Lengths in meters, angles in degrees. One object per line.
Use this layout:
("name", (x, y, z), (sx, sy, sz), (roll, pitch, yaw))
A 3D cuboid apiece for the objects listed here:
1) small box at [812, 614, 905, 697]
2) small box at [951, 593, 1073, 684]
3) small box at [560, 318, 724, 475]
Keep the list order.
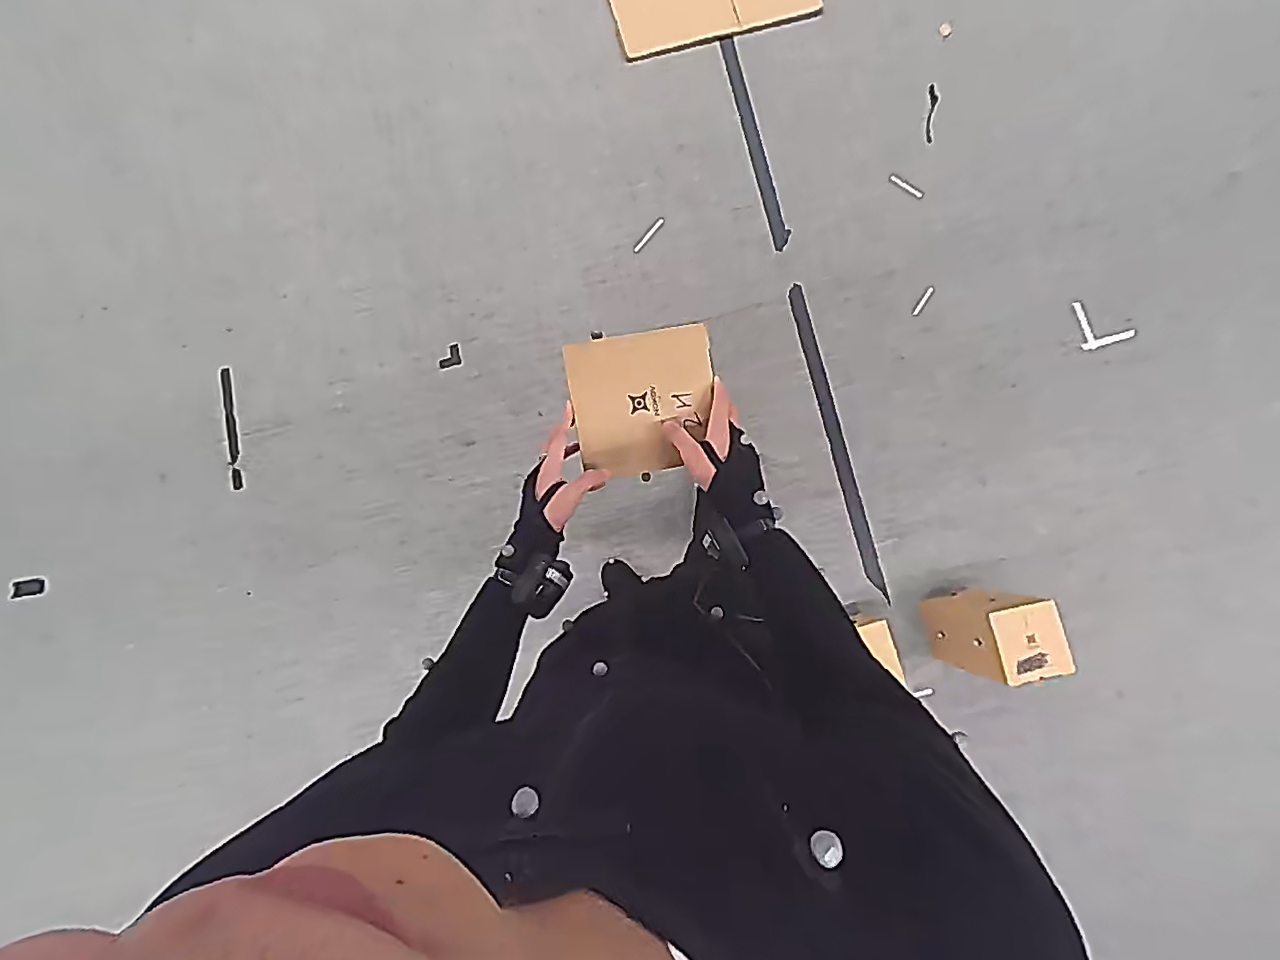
("small box", (0.603, 0.483, 1.519), (0.168, 0.176, 0.179), (-16, 83, -1))
("small box", (0.923, 0.390, 1.358), (0.168, 0.176, 0.179), (-12, 82, -1))
("small box", (-0.002, -0.106, 0.718), (0.179, 0.176, 0.168), (-10, 97, -5))
